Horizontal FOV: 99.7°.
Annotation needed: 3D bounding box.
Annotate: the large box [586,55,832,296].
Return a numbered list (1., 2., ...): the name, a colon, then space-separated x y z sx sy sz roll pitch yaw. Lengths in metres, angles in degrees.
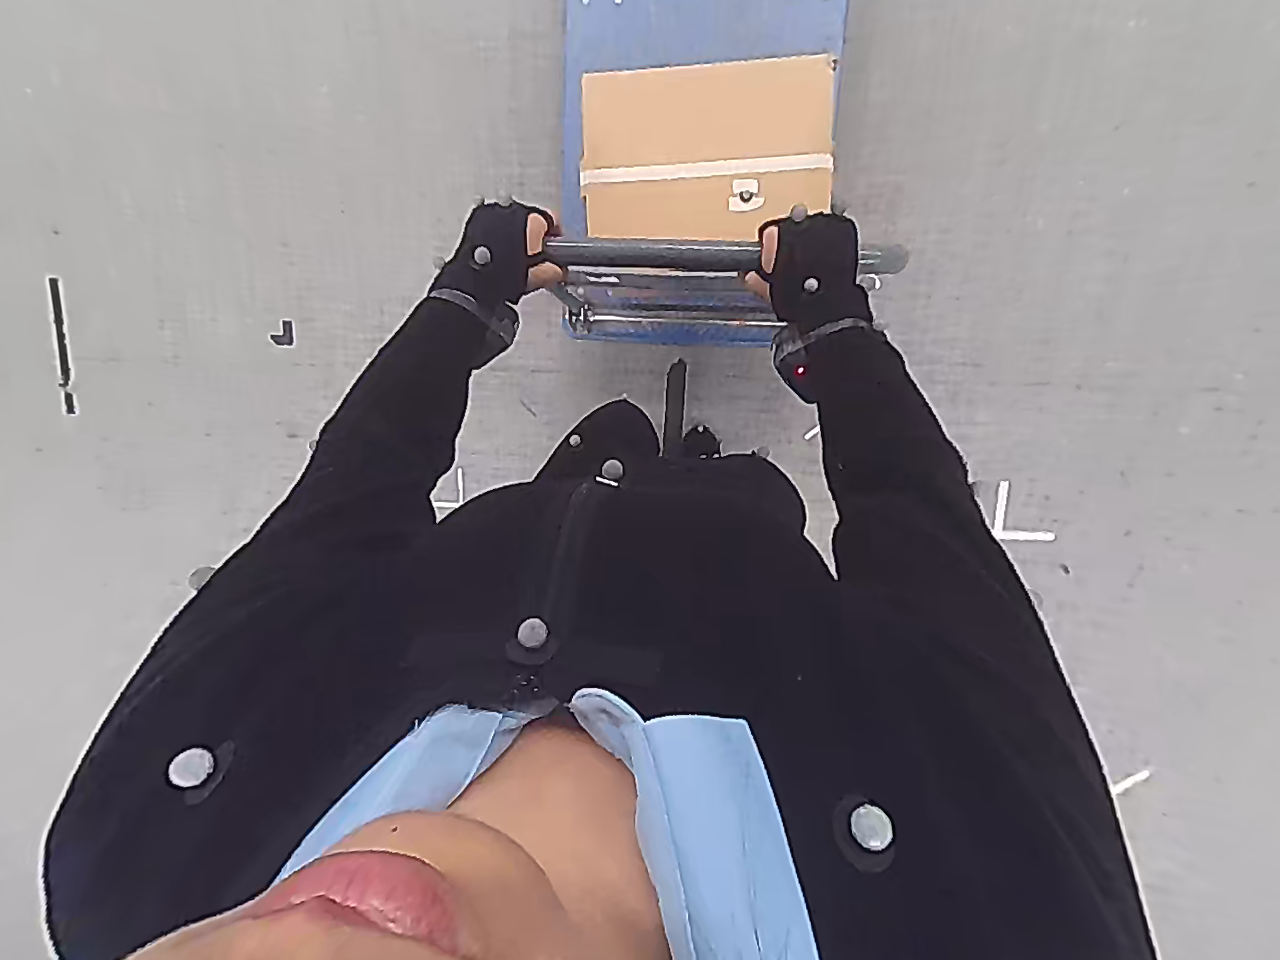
1. large box: 0.125 -0.549 1.050 0.408 0.320 0.320 0 102 5
